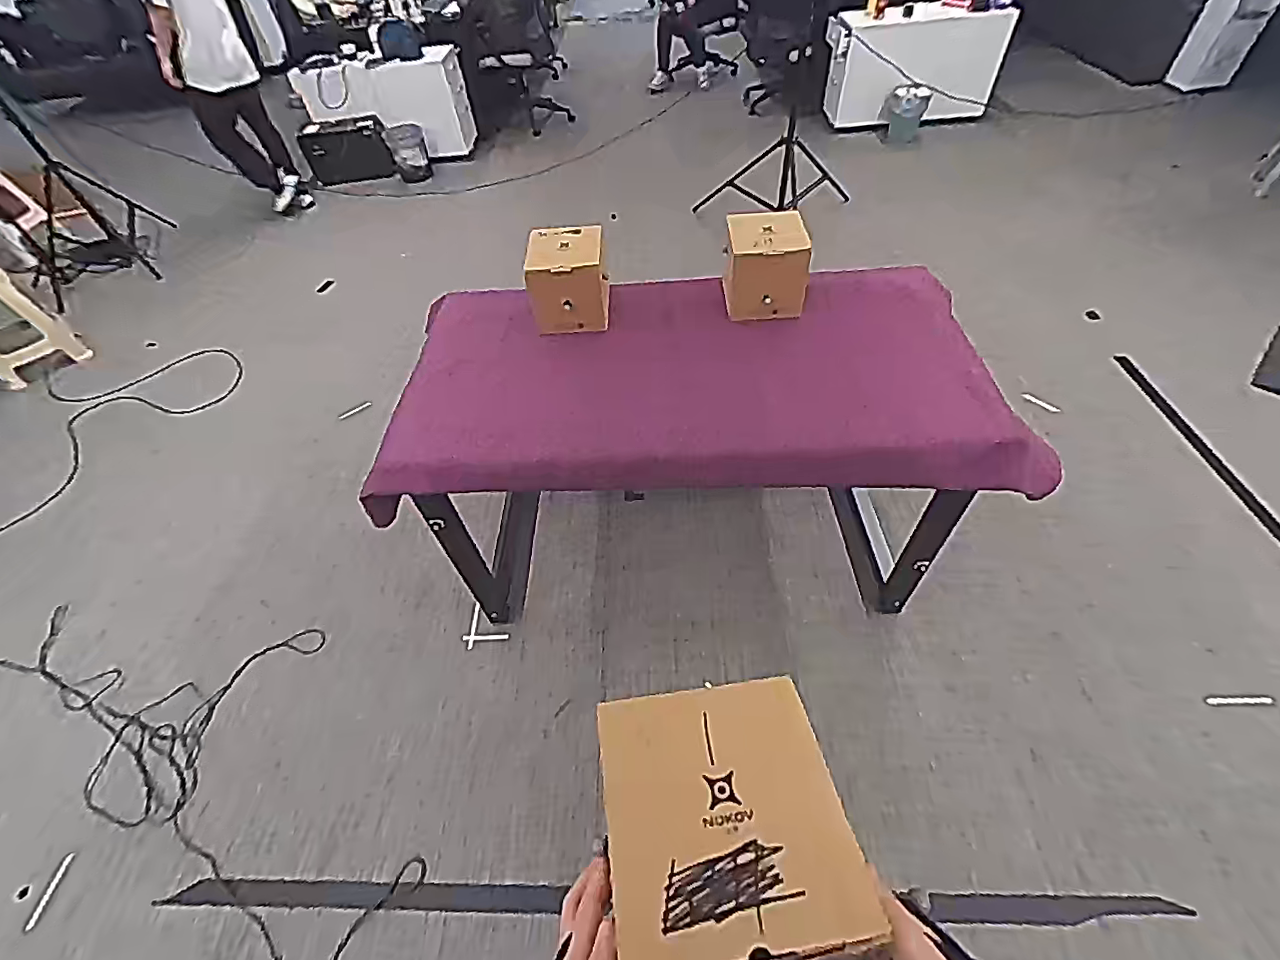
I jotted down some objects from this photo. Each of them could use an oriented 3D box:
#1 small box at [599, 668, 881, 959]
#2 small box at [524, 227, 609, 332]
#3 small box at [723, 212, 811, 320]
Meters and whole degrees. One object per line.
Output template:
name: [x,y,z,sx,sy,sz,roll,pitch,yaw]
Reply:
small box: [0.060,0.283,0.435,0.168,0.176,0.179,-6,39,-6]
small box: [-0.163,-0.461,1.262,0.168,0.176,0.179,-3,53,2]
small box: [0.284,-0.492,1.246,0.168,0.176,0.179,-3,52,4]
